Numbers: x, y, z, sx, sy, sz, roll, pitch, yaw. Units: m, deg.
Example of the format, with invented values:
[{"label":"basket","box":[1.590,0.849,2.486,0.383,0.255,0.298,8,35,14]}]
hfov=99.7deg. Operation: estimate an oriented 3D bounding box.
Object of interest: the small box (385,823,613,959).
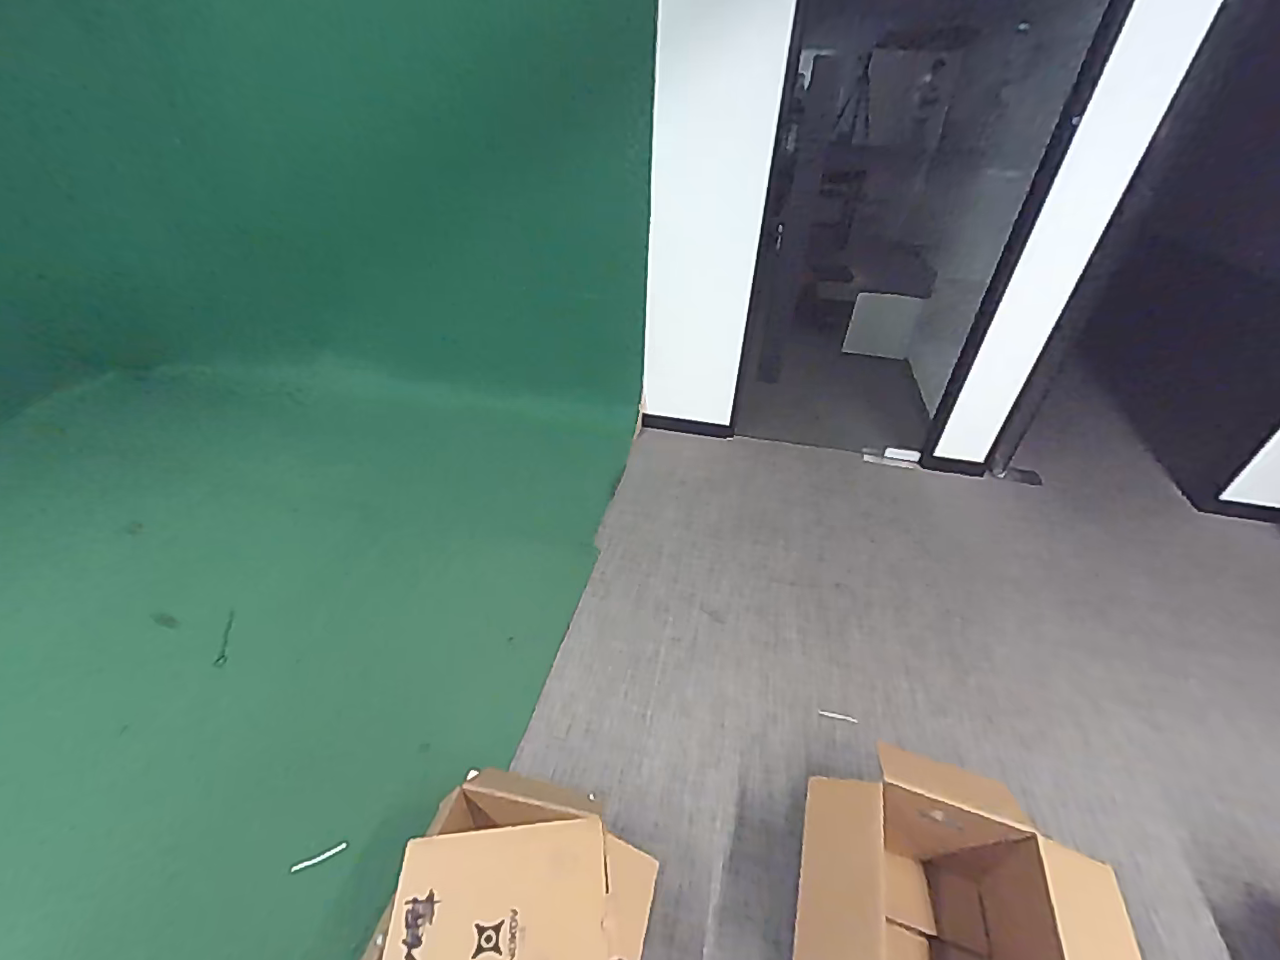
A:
[{"label":"small box","box":[-0.115,0.429,0.466,0.179,0.176,0.168,0,30,-7]}]
